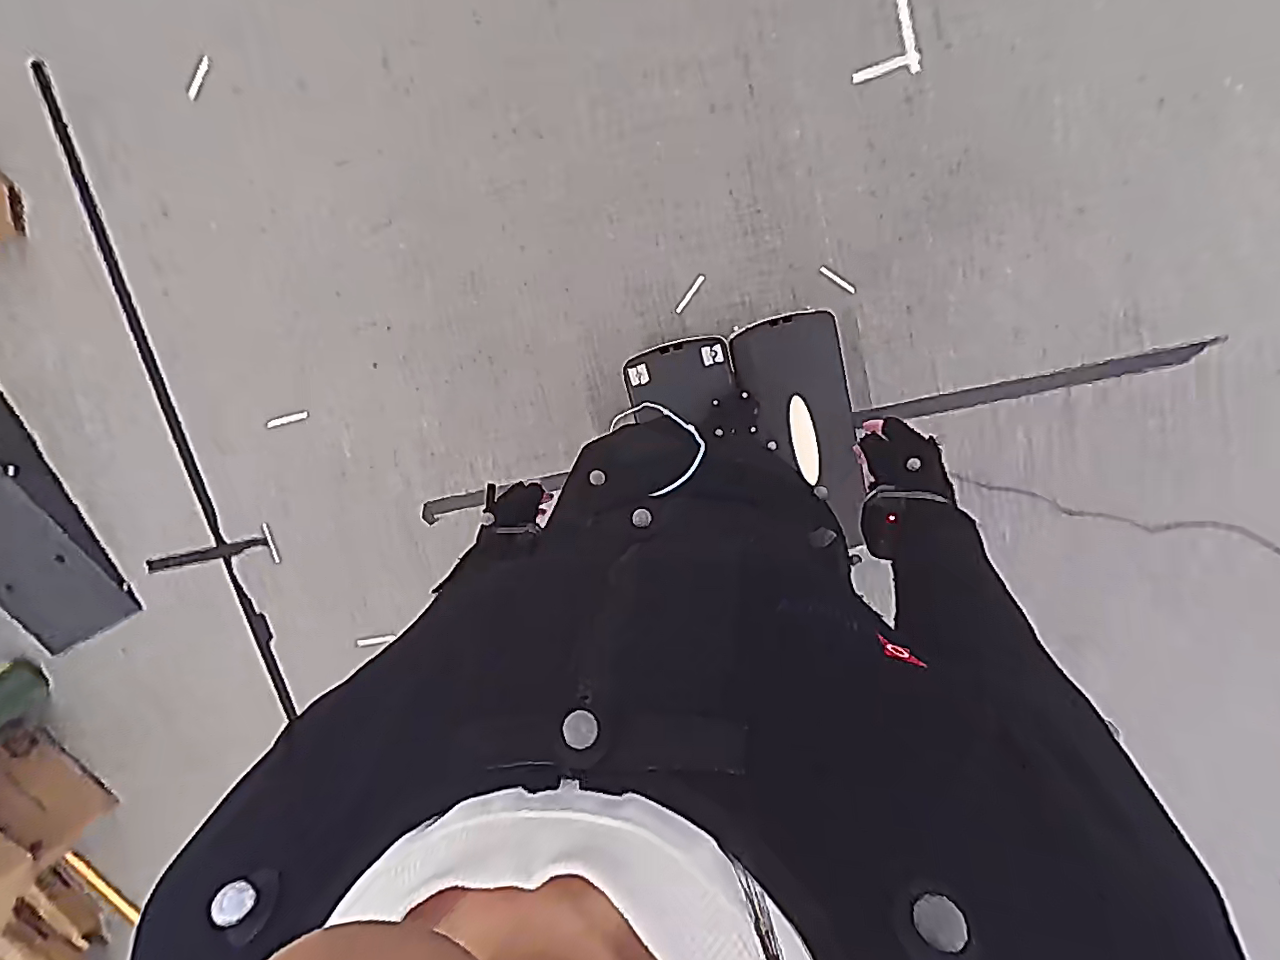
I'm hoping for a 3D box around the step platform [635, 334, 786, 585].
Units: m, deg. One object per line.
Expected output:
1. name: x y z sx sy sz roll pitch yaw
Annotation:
1. step platform: 0.200 -0.051 1.510 0.286 0.204 0.684 -14 98 10
